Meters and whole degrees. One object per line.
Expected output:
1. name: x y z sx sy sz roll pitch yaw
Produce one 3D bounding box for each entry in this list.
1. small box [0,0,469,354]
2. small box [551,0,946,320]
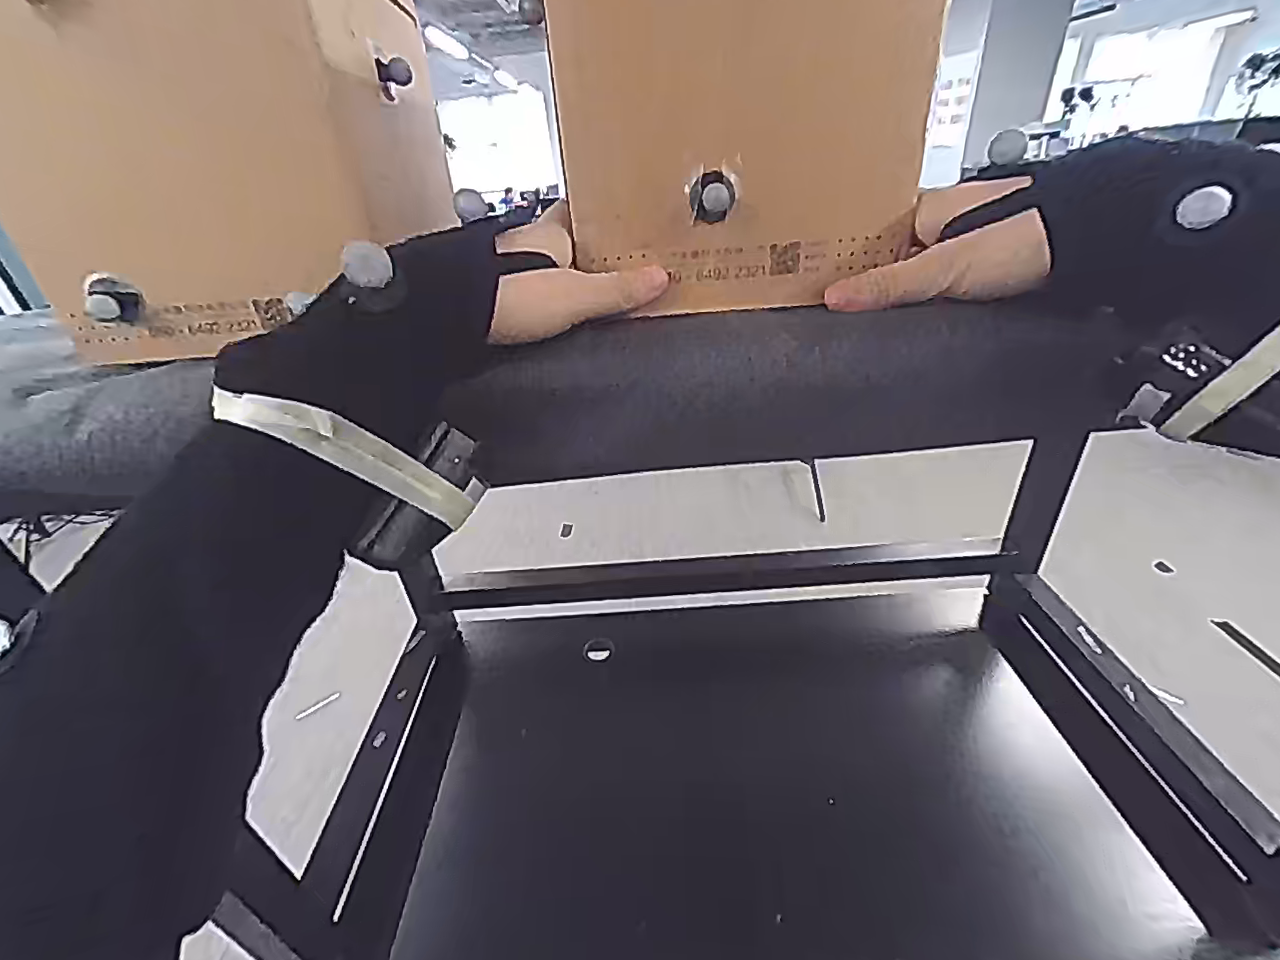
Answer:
1. small box: -0.212 -0.174 0.315 0.168 0.176 0.179 -5 28 -1
2. small box: 0.045 -0.196 0.313 0.168 0.176 0.179 -4 30 1
